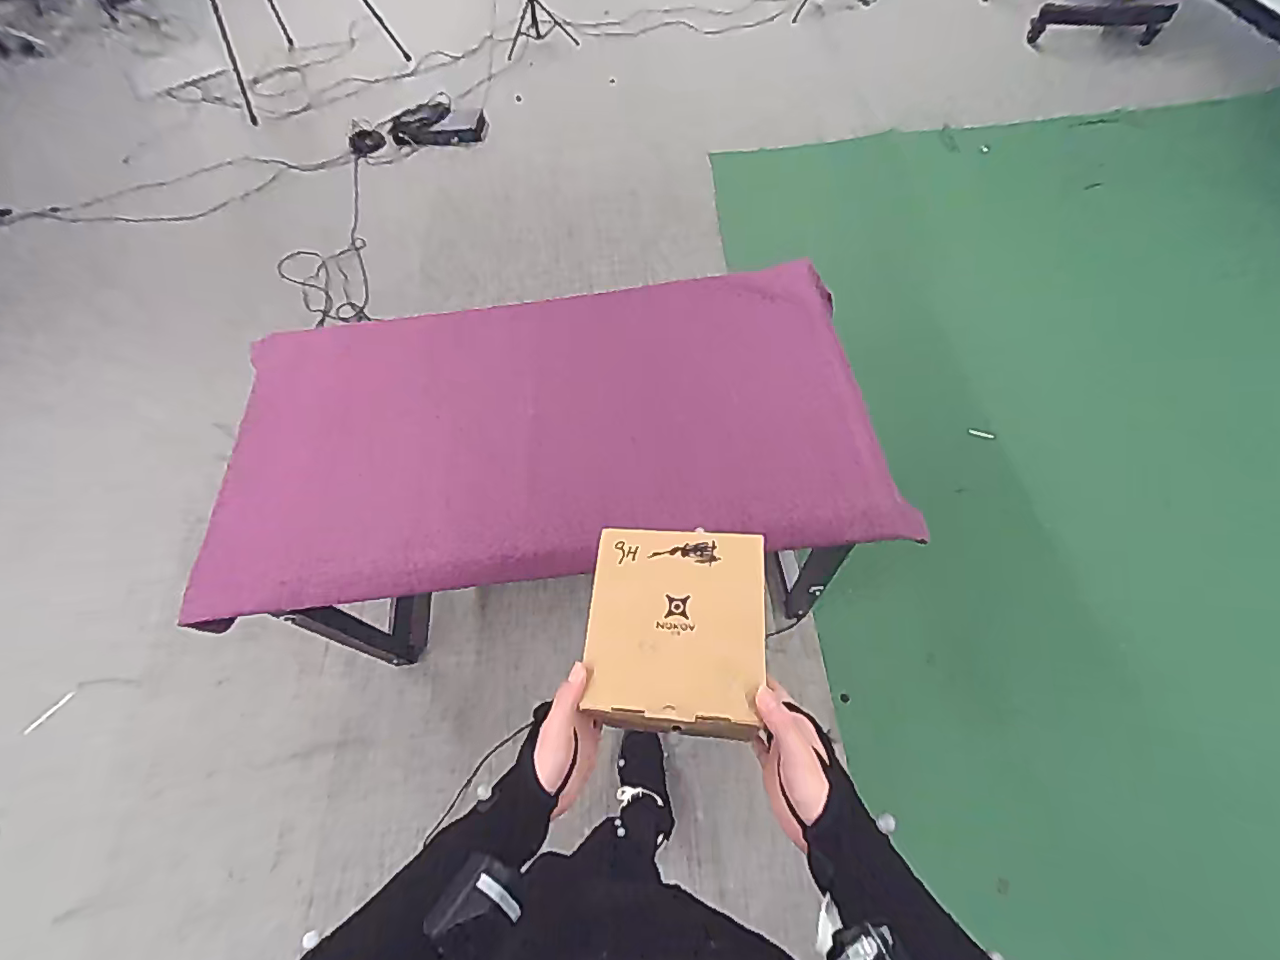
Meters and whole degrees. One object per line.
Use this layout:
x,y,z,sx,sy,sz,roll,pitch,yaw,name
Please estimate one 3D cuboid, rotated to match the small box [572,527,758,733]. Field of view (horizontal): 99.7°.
0.037,0.165,0.577,0.168,0.176,0.179,2,62,8,small box
